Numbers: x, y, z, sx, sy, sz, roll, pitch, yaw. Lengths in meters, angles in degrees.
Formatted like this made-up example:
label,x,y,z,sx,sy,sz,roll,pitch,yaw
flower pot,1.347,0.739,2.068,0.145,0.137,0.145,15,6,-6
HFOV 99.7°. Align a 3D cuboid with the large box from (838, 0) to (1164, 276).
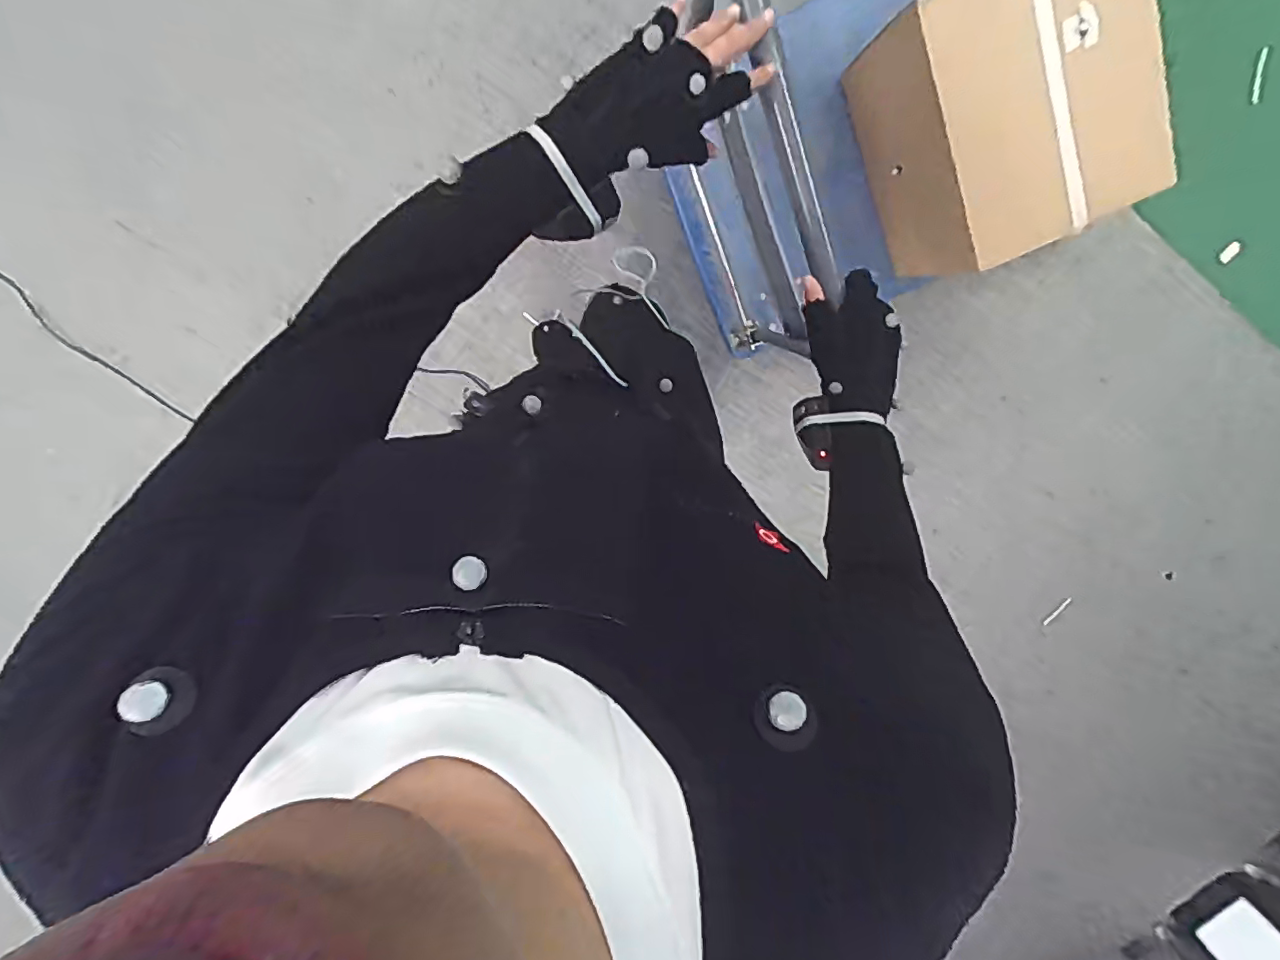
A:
label,x,y,z,sx,sy,sz,roll,pitch,yaw
large box,0.596,-0.617,0.945,0.320,0.320,0.408,-23,107,8
